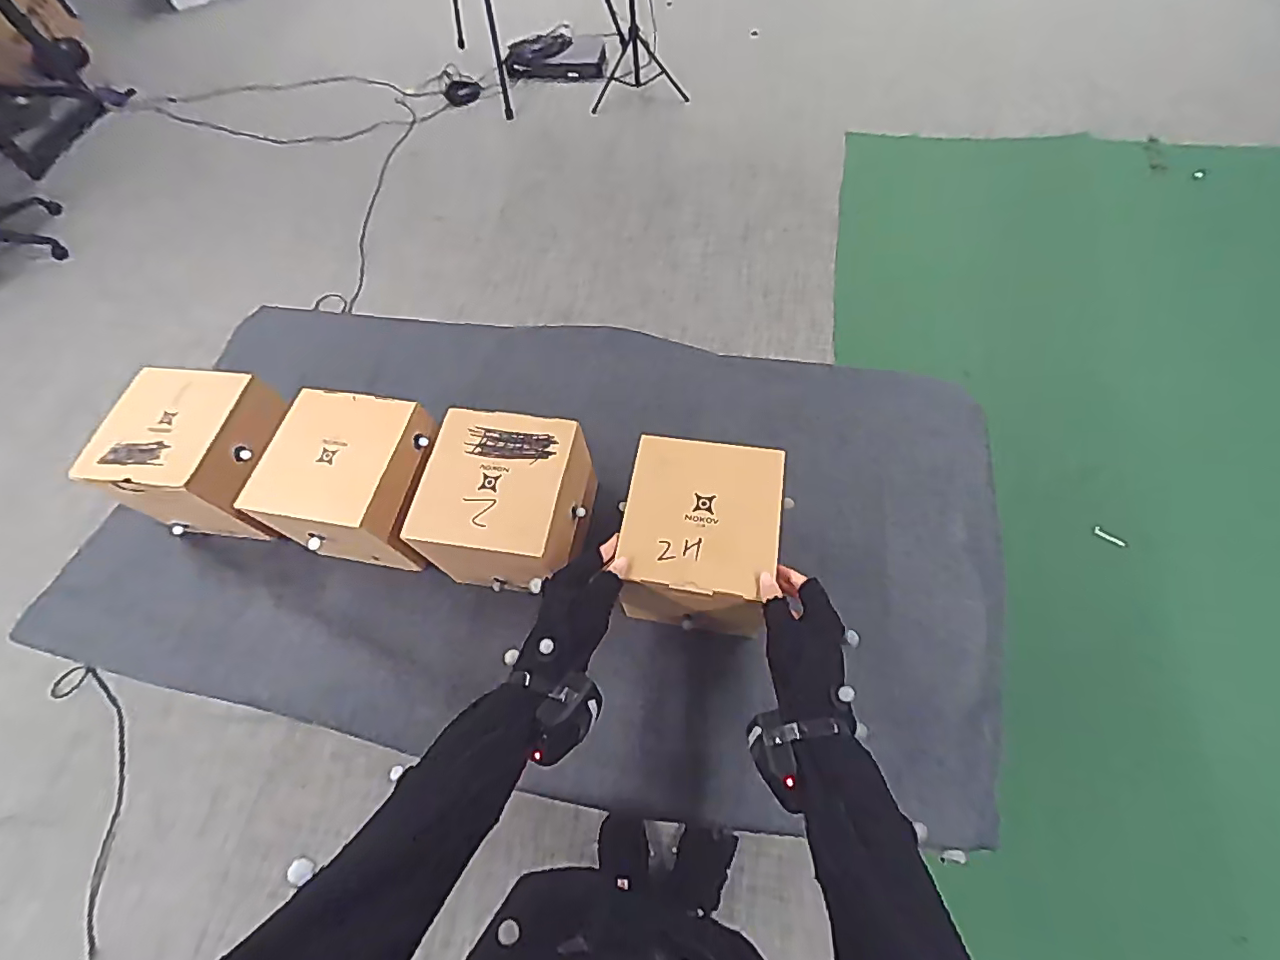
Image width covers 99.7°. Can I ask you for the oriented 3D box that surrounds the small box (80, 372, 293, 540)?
[{"bbox_3d":[-0.594,-0.028,0.764,0.168,0.176,0.179,5,61,7],"label":"small box"}]

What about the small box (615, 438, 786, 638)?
[{"bbox_3d":[0.075,0.074,0.650,0.168,0.176,0.179,7,63,10],"label":"small box"}]

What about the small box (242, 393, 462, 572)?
[{"bbox_3d":[-0.364,0.010,0.725,0.168,0.176,0.179,8,62,9],"label":"small box"}]
